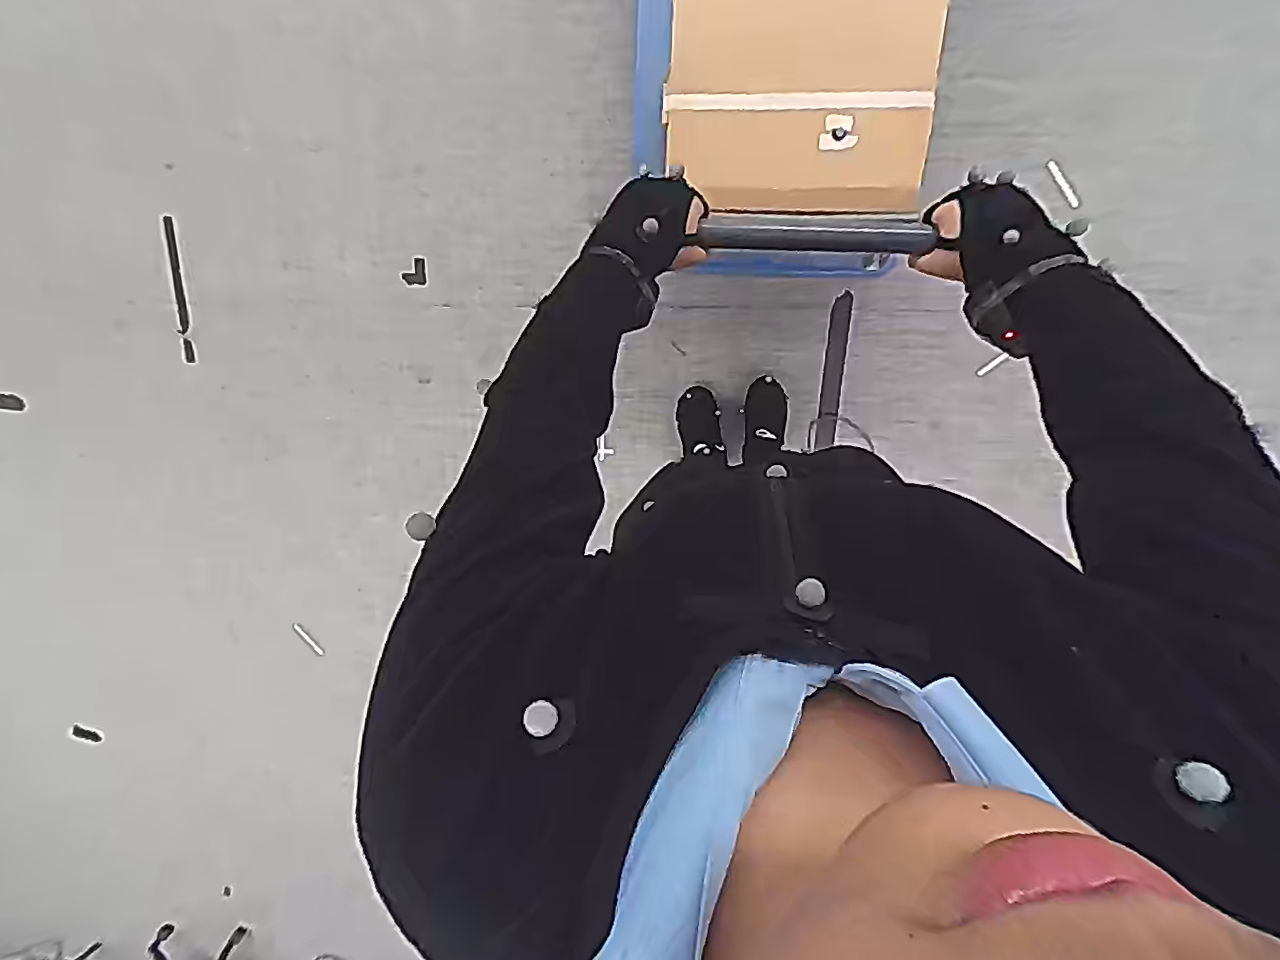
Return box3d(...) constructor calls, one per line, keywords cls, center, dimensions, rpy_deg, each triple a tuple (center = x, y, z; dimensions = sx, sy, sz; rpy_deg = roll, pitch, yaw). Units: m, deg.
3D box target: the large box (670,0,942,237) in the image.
box3d(cls="large box", center=(0.263, -0.638, 0.995), dimensions=(0.408, 0.320, 0.320), rpy_deg=(3, 107, 5))
